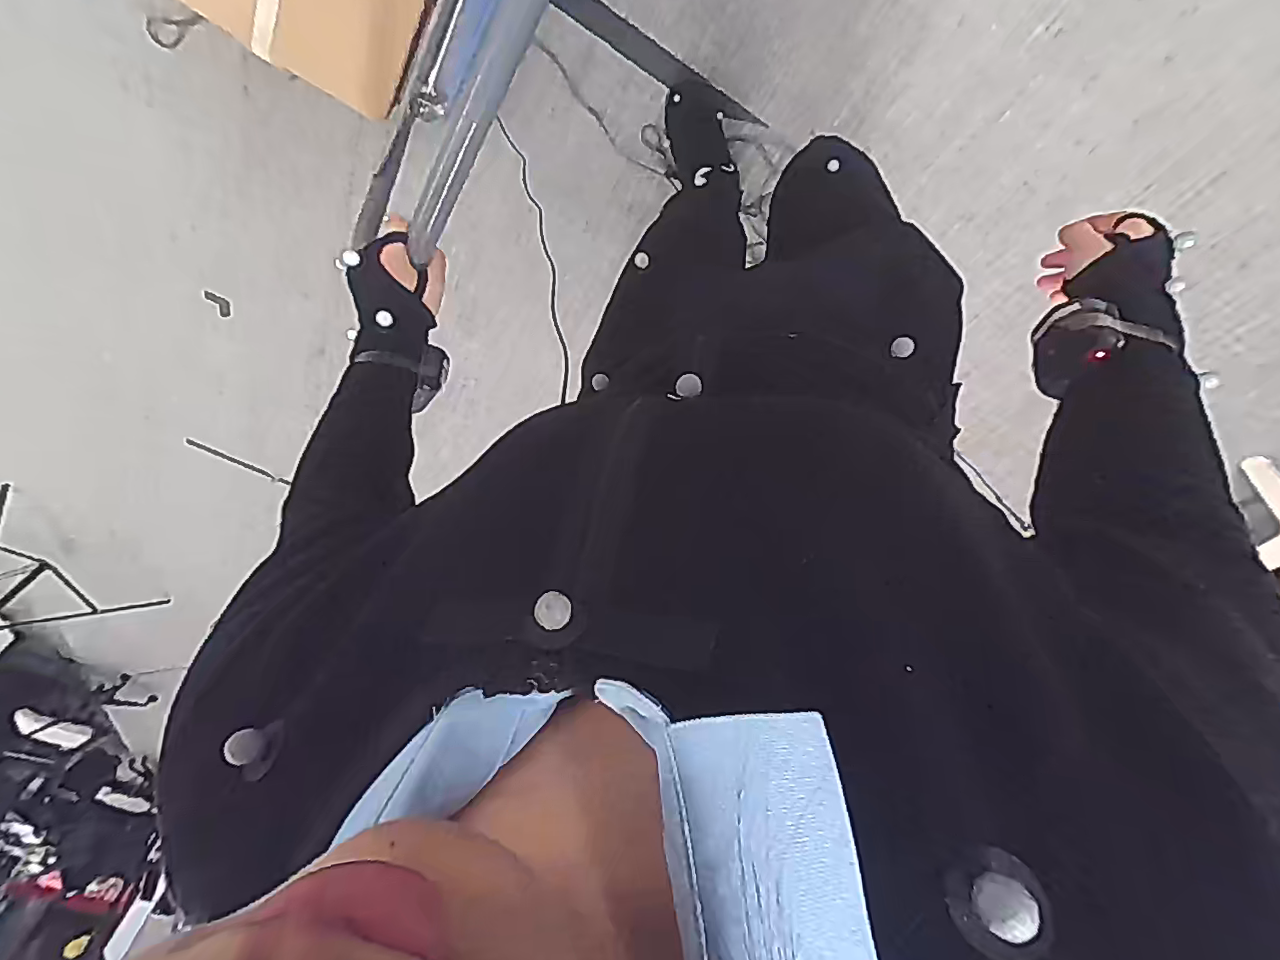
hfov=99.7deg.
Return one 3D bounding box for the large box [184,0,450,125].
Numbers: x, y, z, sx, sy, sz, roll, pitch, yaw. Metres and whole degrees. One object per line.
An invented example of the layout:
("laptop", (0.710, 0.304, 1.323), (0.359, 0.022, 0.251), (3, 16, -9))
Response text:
("large box", (-0.385, -0.784, 0.688), (0.320, 0.320, 0.408), (21, 134, -31))
